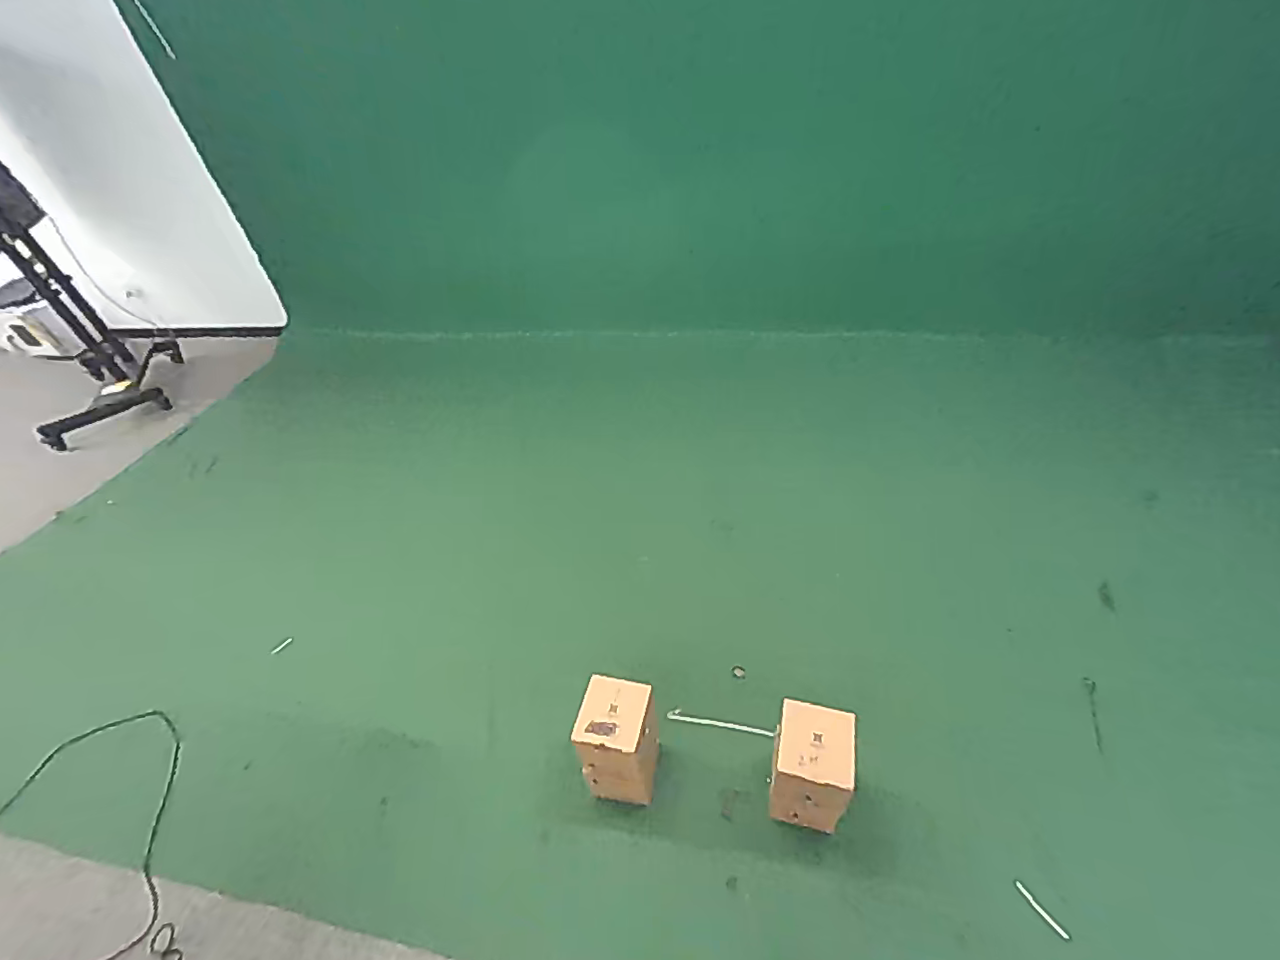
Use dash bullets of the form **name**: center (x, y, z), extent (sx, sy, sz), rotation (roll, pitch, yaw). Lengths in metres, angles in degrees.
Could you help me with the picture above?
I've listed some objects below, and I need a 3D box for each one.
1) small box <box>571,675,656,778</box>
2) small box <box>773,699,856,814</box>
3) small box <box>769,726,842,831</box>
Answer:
- **small box**: center (-0.059, 0.638, 1.397), extent (0.168, 0.176, 0.179), rotation (6, 42, 15)
- **small box**: center (0.416, 0.662, 1.298), extent (0.168, 0.176, 0.179), rotation (8, 45, 16)
- **small box**: center (0.430, 0.779, 1.413), extent (0.168, 0.176, 0.179), rotation (6, 45, 15)
